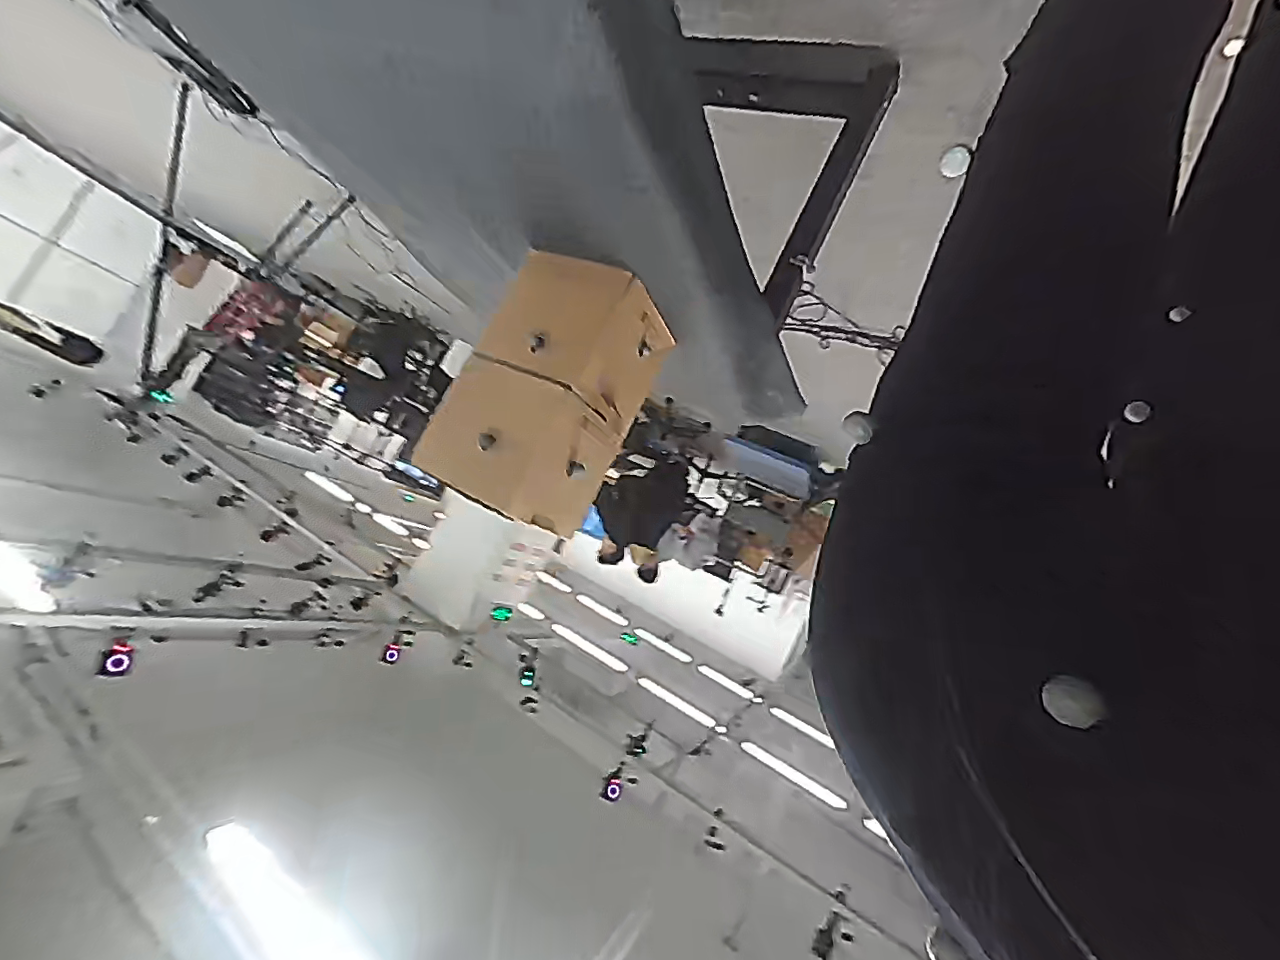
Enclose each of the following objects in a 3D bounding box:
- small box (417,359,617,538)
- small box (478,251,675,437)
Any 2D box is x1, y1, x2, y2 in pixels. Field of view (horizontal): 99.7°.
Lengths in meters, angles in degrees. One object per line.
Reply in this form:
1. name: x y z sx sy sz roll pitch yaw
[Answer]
1. small box: -0.151 -0.042 0.725 0.179 0.176 0.168 22 173 28
2. small box: -0.079 -0.188 0.747 0.179 0.176 0.168 23 173 27
